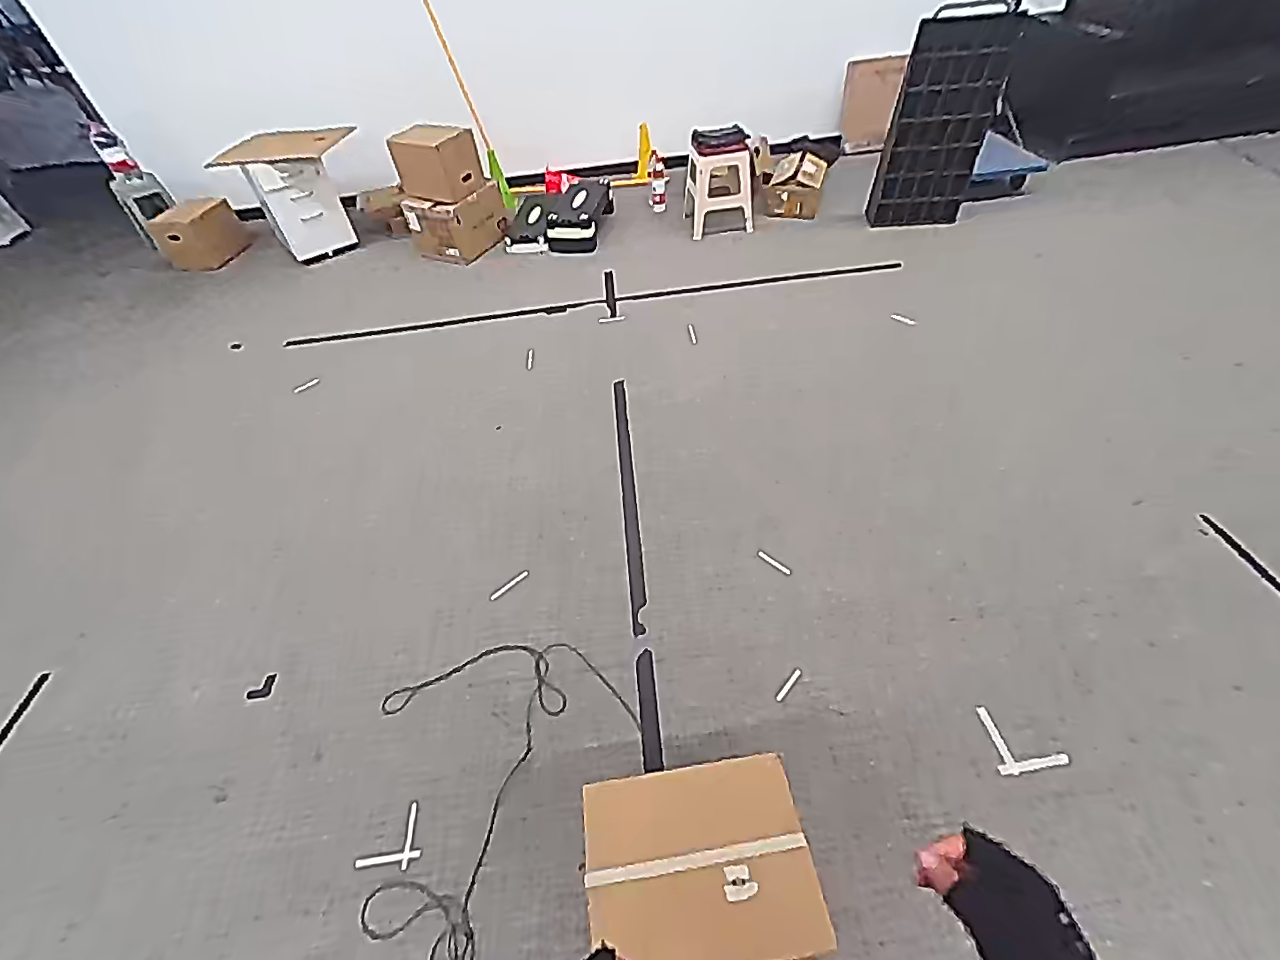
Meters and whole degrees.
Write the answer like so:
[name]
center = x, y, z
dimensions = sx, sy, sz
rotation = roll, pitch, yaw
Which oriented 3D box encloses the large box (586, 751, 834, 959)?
[large box]
center = 0.118, 0.801, 1.097
dimensions = 0.408, 0.320, 0.320
rotation = -9, 45, -3
